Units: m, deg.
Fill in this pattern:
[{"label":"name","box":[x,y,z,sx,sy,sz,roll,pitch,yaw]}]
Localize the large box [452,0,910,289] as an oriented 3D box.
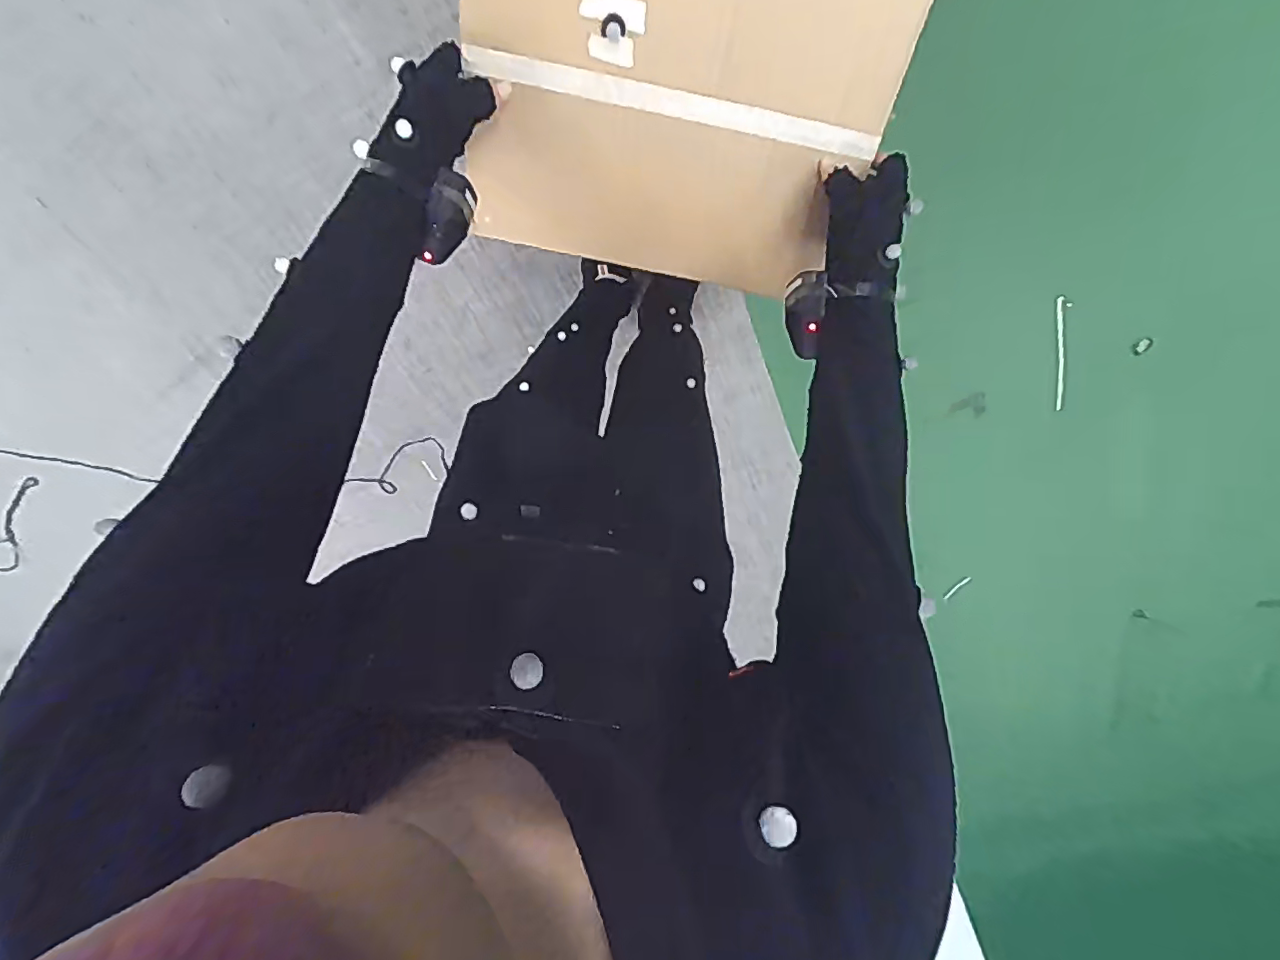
[{"label":"large box","box":[0.032,-0.459,0.631,0.408,0.320,0.320,11,127,-4]}]
